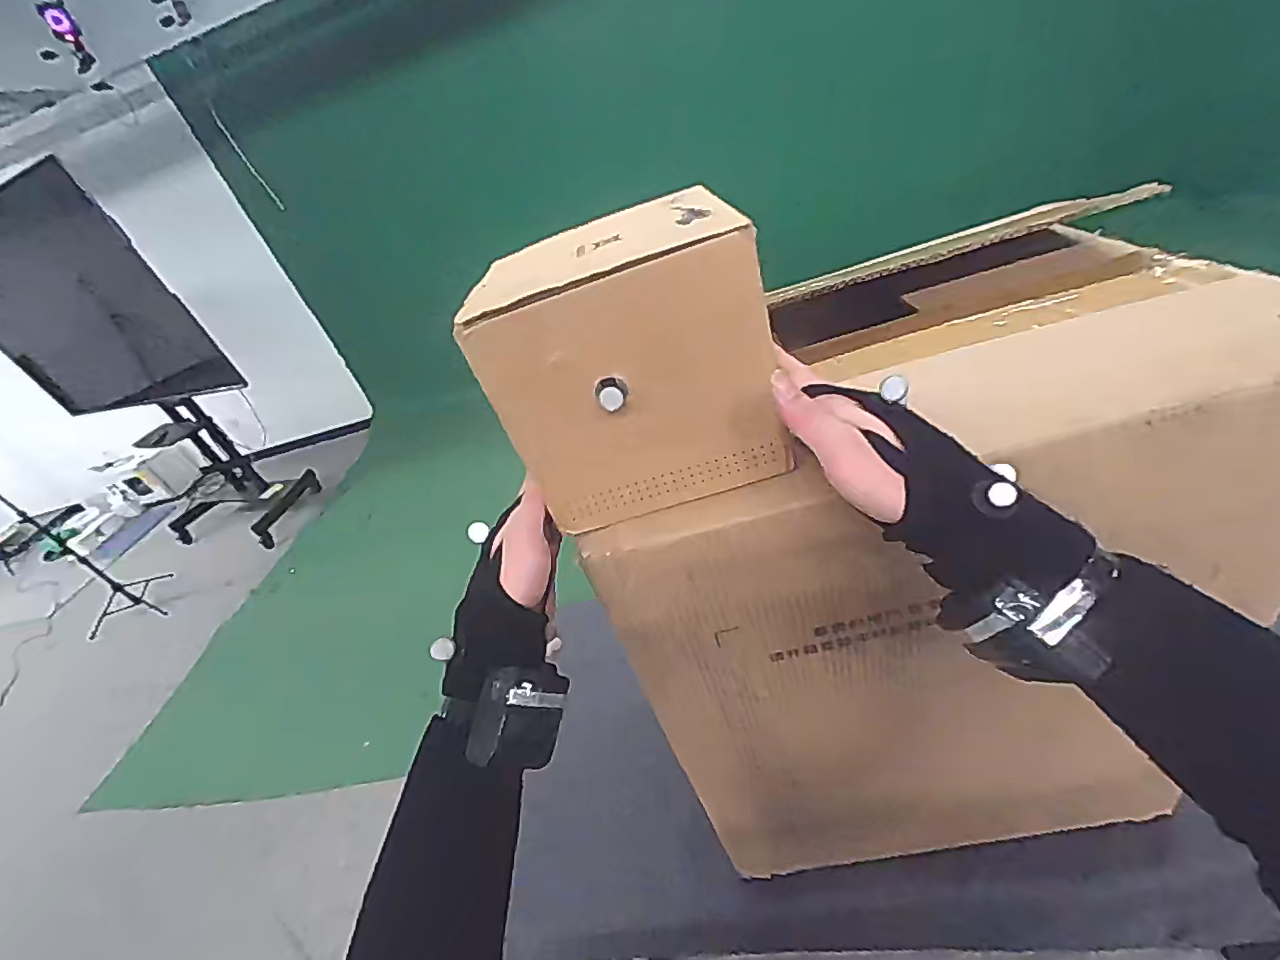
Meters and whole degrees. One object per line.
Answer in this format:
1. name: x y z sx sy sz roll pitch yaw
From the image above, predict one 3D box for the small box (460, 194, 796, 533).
1. small box: -0.001 -0.085 0.404 0.179 0.176 0.168 -18 35 6
